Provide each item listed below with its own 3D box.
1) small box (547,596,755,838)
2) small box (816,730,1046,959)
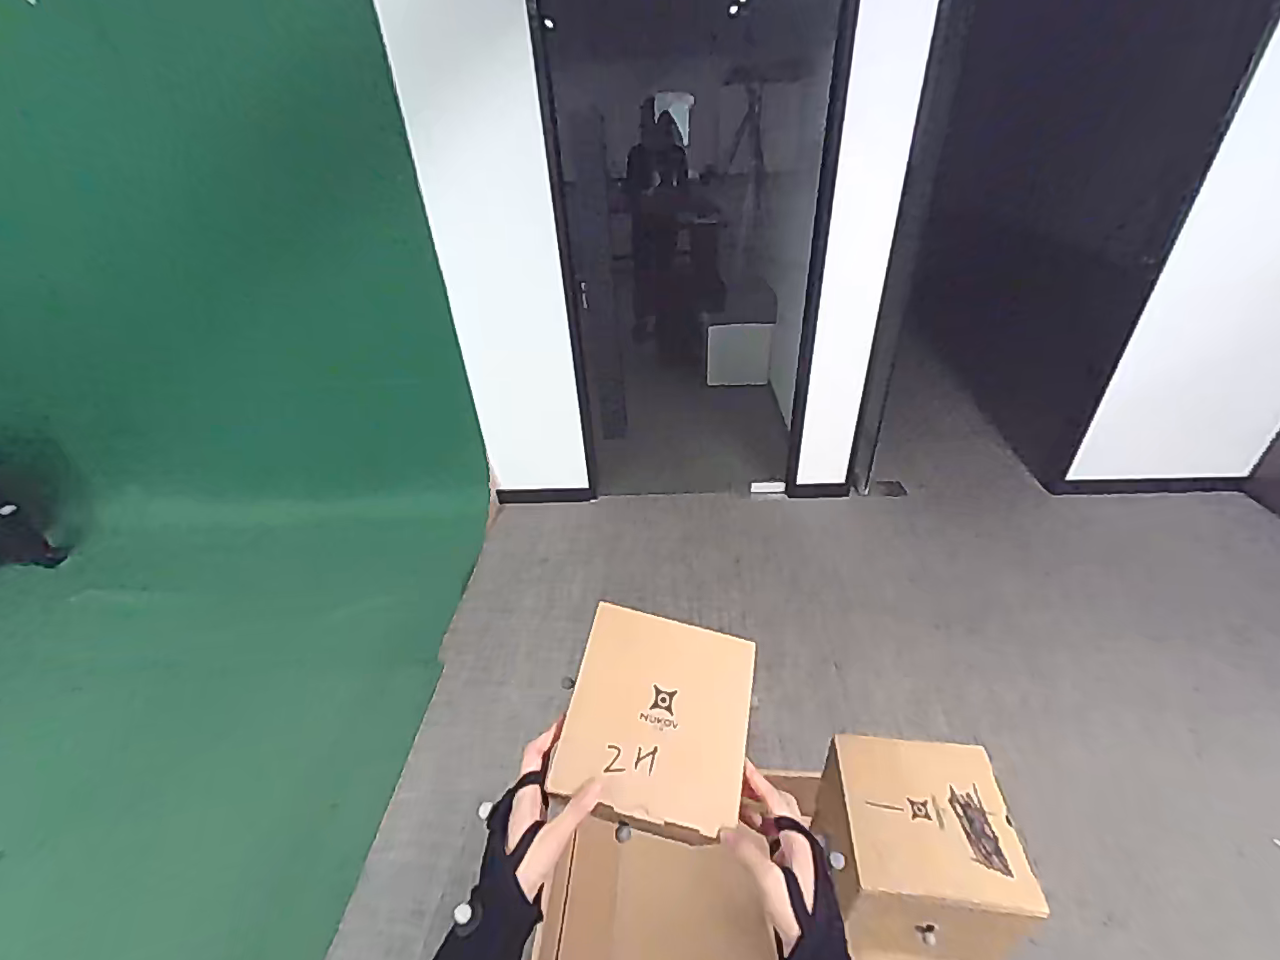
[{"bbox_3d":[0.008,0.251,0.564,0.168,0.176,0.179,15,56,3],"label":"small box"},{"bbox_3d":[0.313,0.421,0.629,0.179,0.176,0.168,2,35,9],"label":"small box"}]
